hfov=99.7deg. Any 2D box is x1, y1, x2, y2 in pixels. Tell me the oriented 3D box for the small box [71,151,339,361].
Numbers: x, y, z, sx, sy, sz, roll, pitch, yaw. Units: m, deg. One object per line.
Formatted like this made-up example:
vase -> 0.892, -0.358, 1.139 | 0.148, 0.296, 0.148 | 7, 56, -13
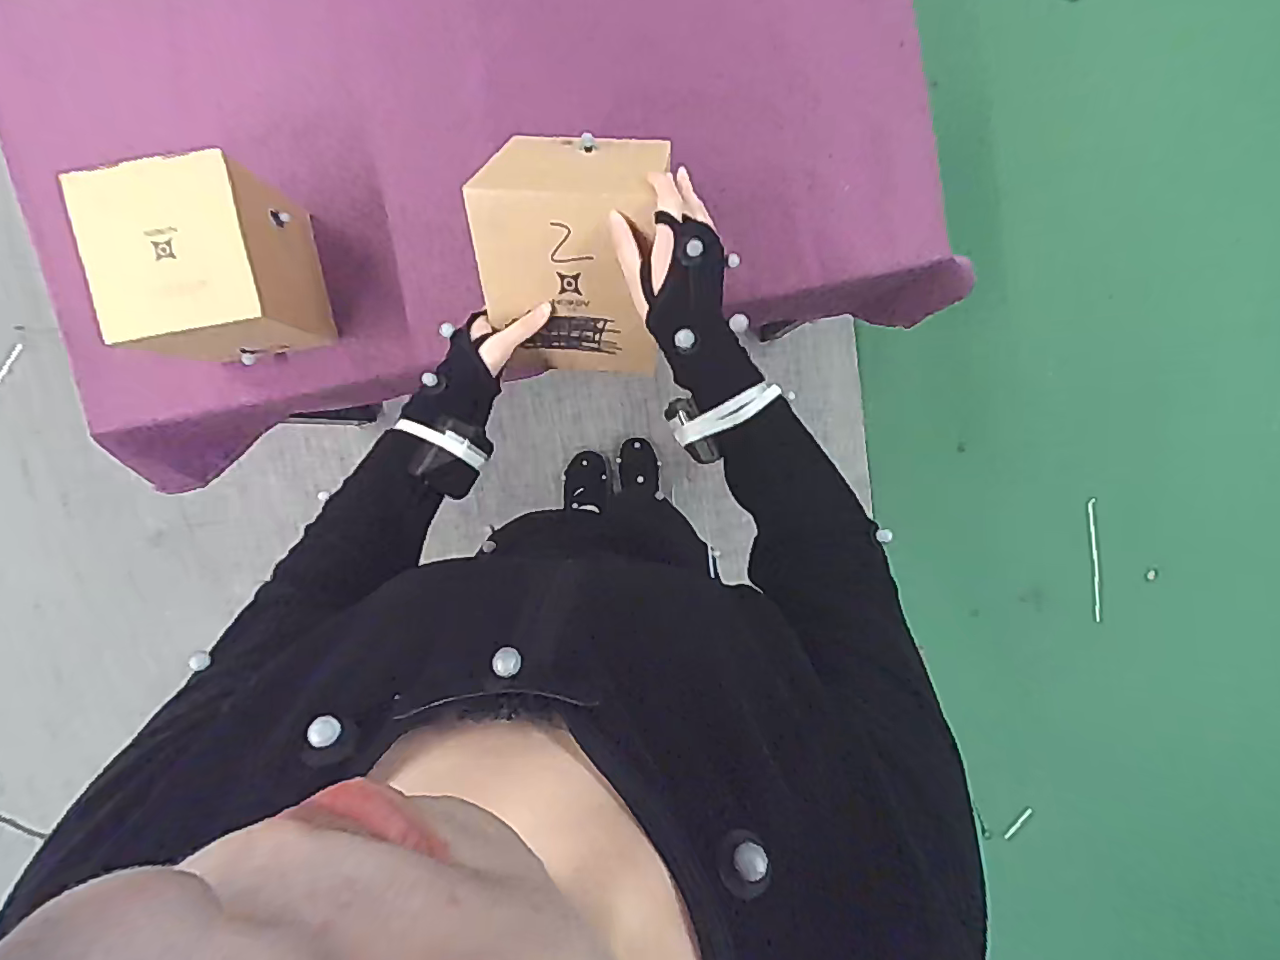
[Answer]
small box -> -0.495, -0.251, 0.645 | 0.168, 0.176, 0.179 | -10, 96, -2
